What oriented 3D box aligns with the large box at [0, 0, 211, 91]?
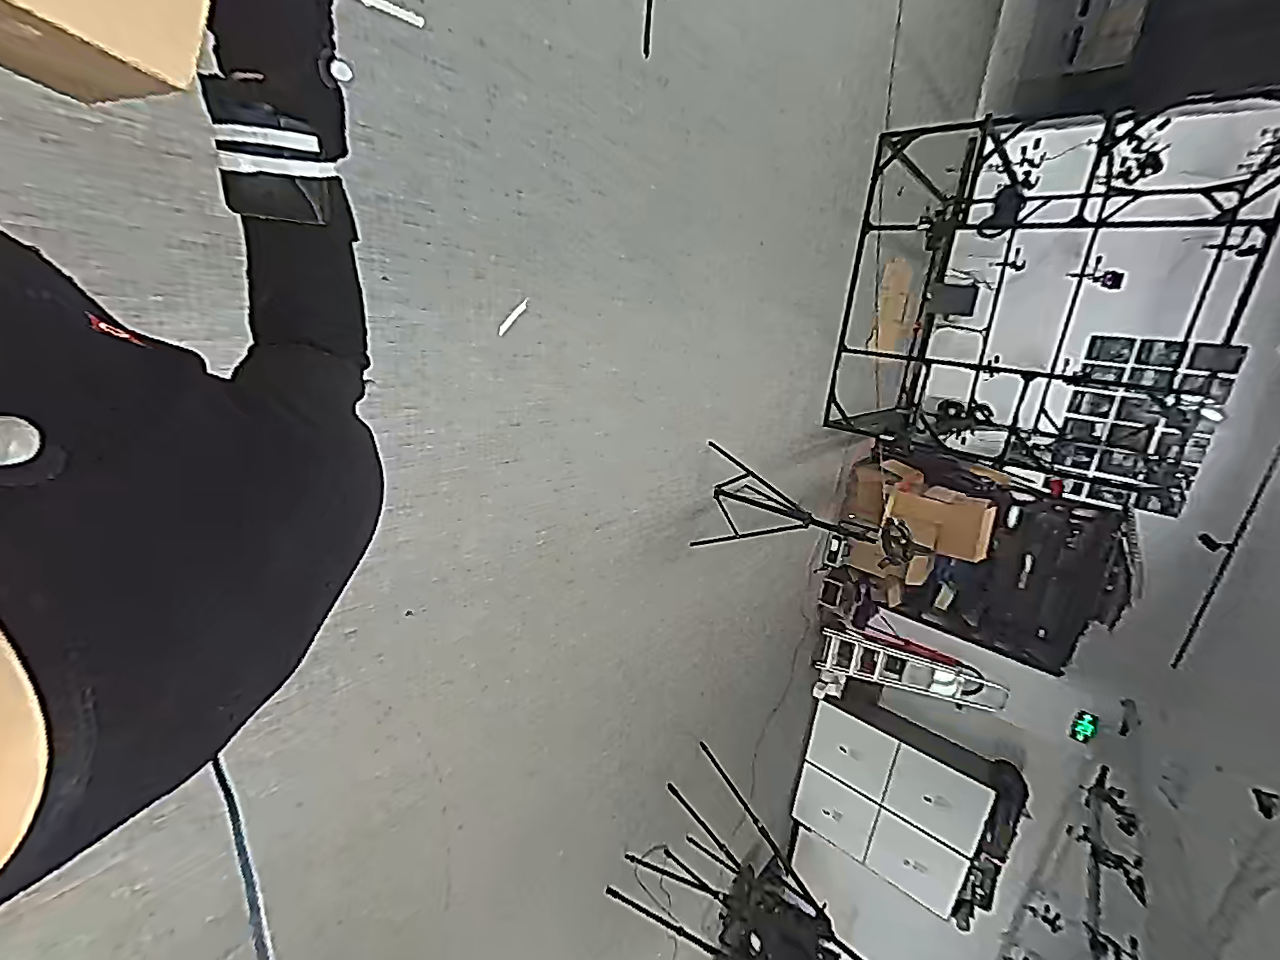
[{"bbox_3d":[-0.447,-0.445,0.220,0.408,0.320,0.320,5,107,-55],"label":"large box"}]
